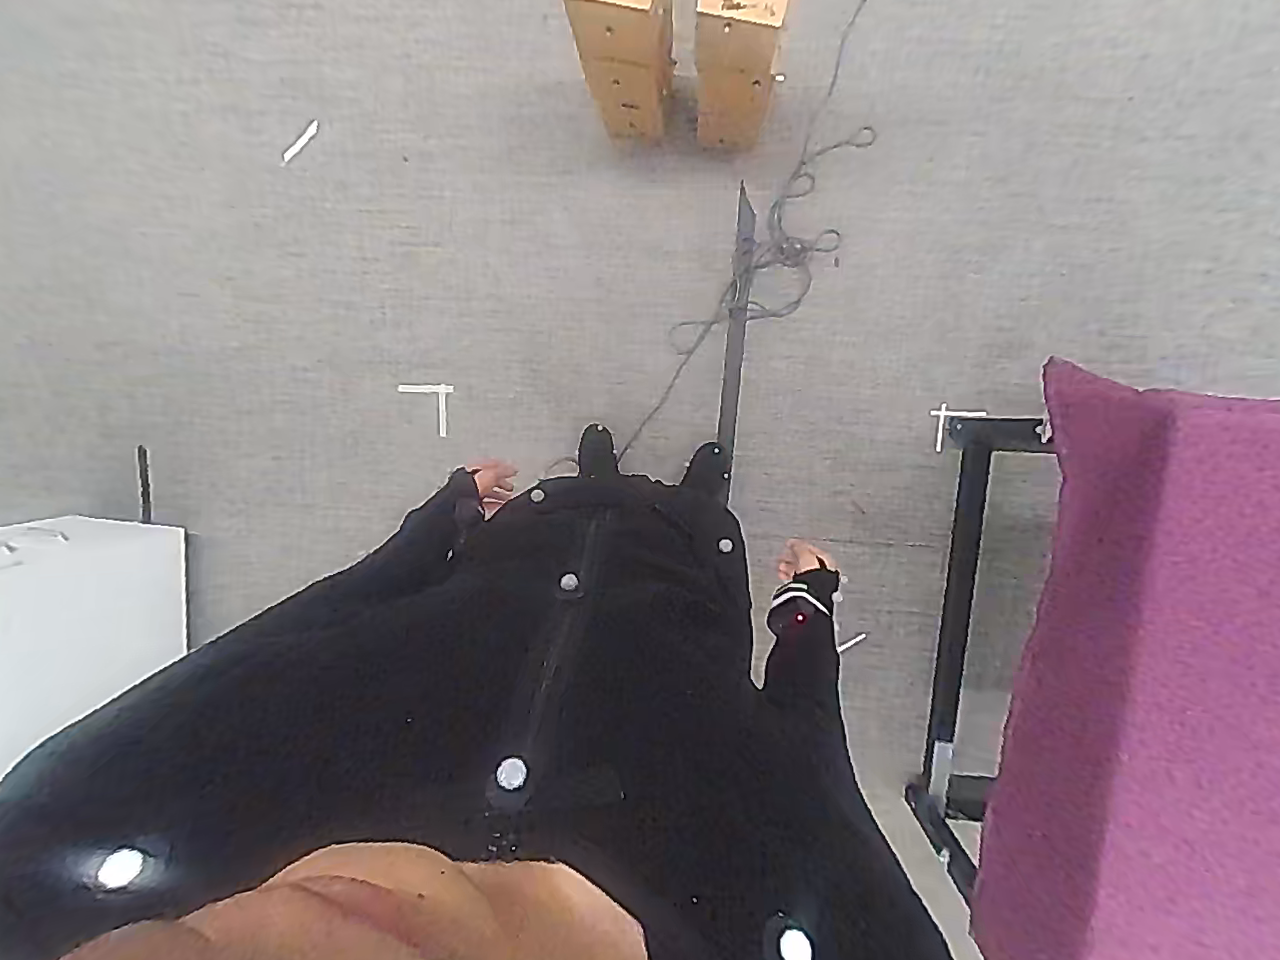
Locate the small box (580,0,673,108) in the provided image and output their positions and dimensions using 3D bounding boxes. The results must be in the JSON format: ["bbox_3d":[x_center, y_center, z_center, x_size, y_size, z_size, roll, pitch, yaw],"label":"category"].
[{"bbox_3d":[-0.024,-1.002,1.251,0.179,0.176,0.168,13,98,3],"label":"small box"}]

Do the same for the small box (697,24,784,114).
[{"bbox_3d":[0.226,-0.973,1.240,0.179,0.176,0.168,6,97,4],"label":"small box"}]

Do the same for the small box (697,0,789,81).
[{"bbox_3d":[0.211,-0.952,1.078,0.168,0.176,0.179,14,97,3],"label":"small box"}]

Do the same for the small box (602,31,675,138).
[{"bbox_3d":[-0.003,-1.036,1.411,0.168,0.176,0.179,10,98,4],"label":"small box"}]

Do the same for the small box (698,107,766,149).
[{"bbox_3d":[0.239,-0.993,1.400,0.168,0.176,0.179,5,97,4],"label":"small box"}]
